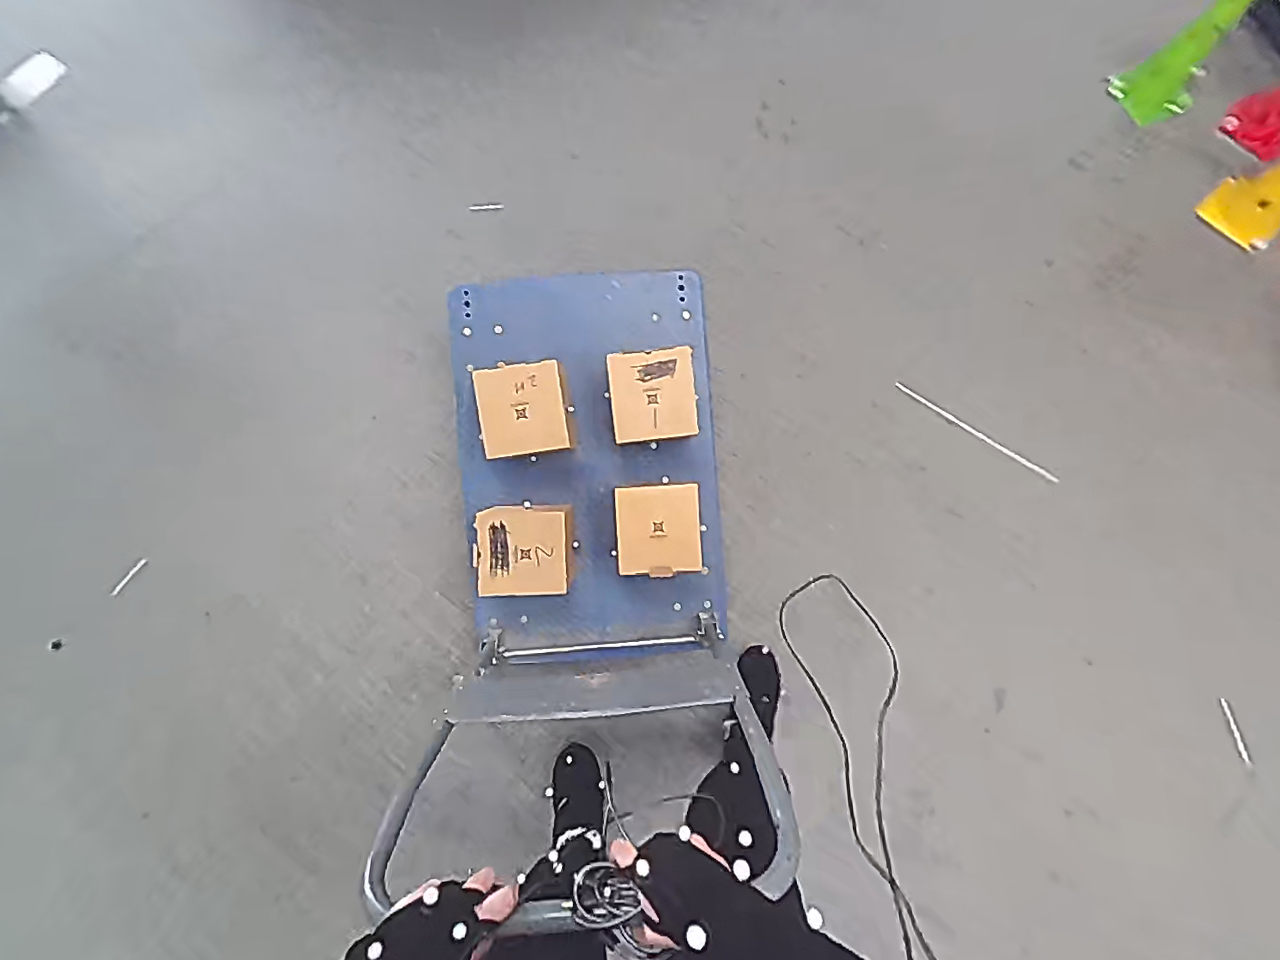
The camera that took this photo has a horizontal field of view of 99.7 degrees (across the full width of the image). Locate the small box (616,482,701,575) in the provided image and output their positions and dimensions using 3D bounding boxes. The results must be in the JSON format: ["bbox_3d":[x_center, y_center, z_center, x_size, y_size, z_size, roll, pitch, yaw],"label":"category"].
[{"bbox_3d":[0.035,0.095,1.143,0.168,0.176,0.179,-3,93,0],"label":"small box"}]

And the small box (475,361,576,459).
[{"bbox_3d":[-0.230,-0.140,1.129,0.168,0.176,0.179,-8,92,-1],"label":"small box"}]

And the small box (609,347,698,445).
[{"bbox_3d":[0.025,-0.168,1.130,0.168,0.176,0.179,-6,93,0],"label":"small box"}]
